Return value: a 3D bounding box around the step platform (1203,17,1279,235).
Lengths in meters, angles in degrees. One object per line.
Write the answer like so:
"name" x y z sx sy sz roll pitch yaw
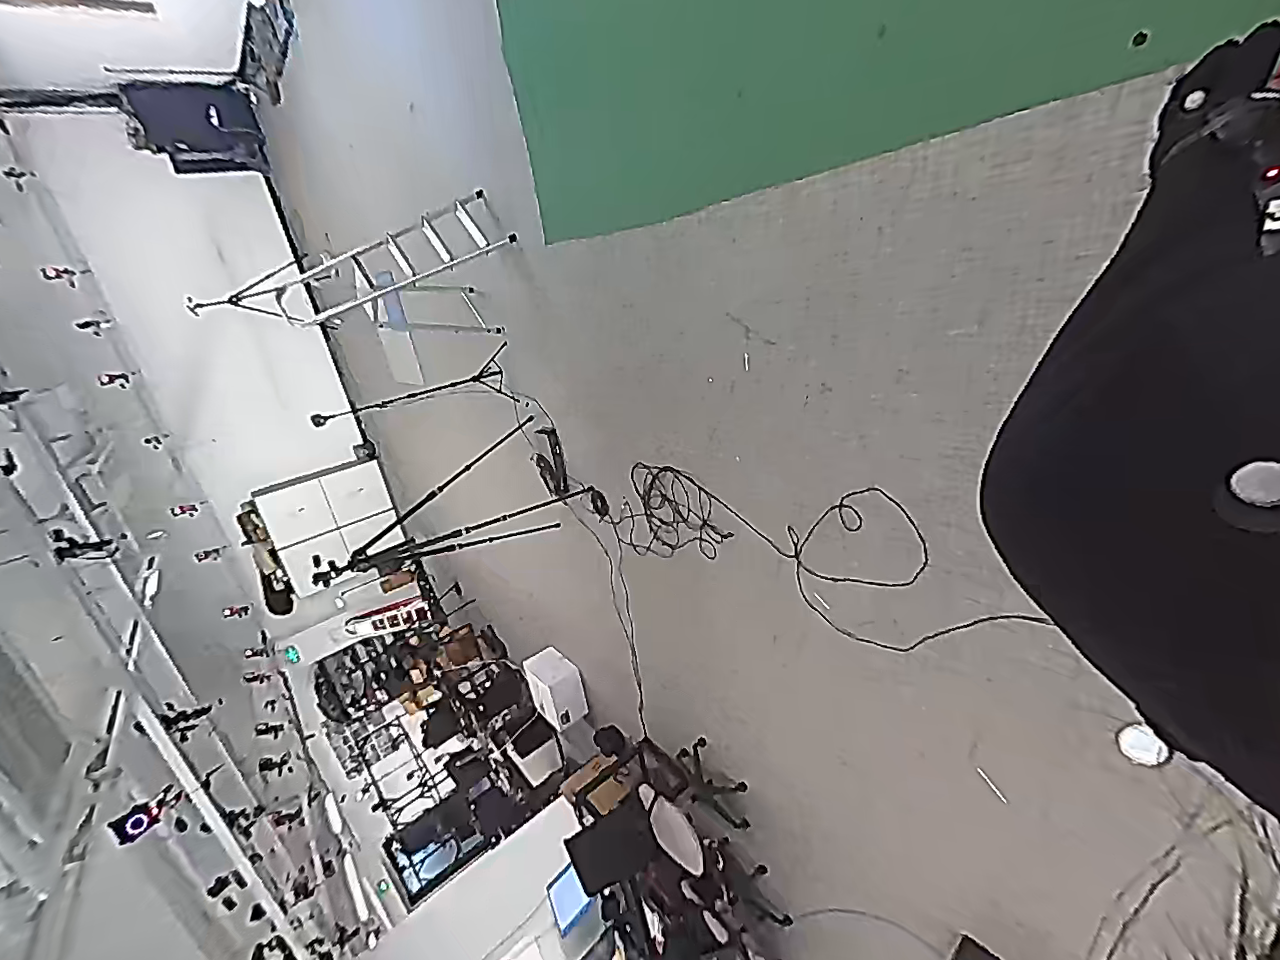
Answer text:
"step platform" 1.168 -0.500 0.632 0.684 0.204 0.286 16 124 50
